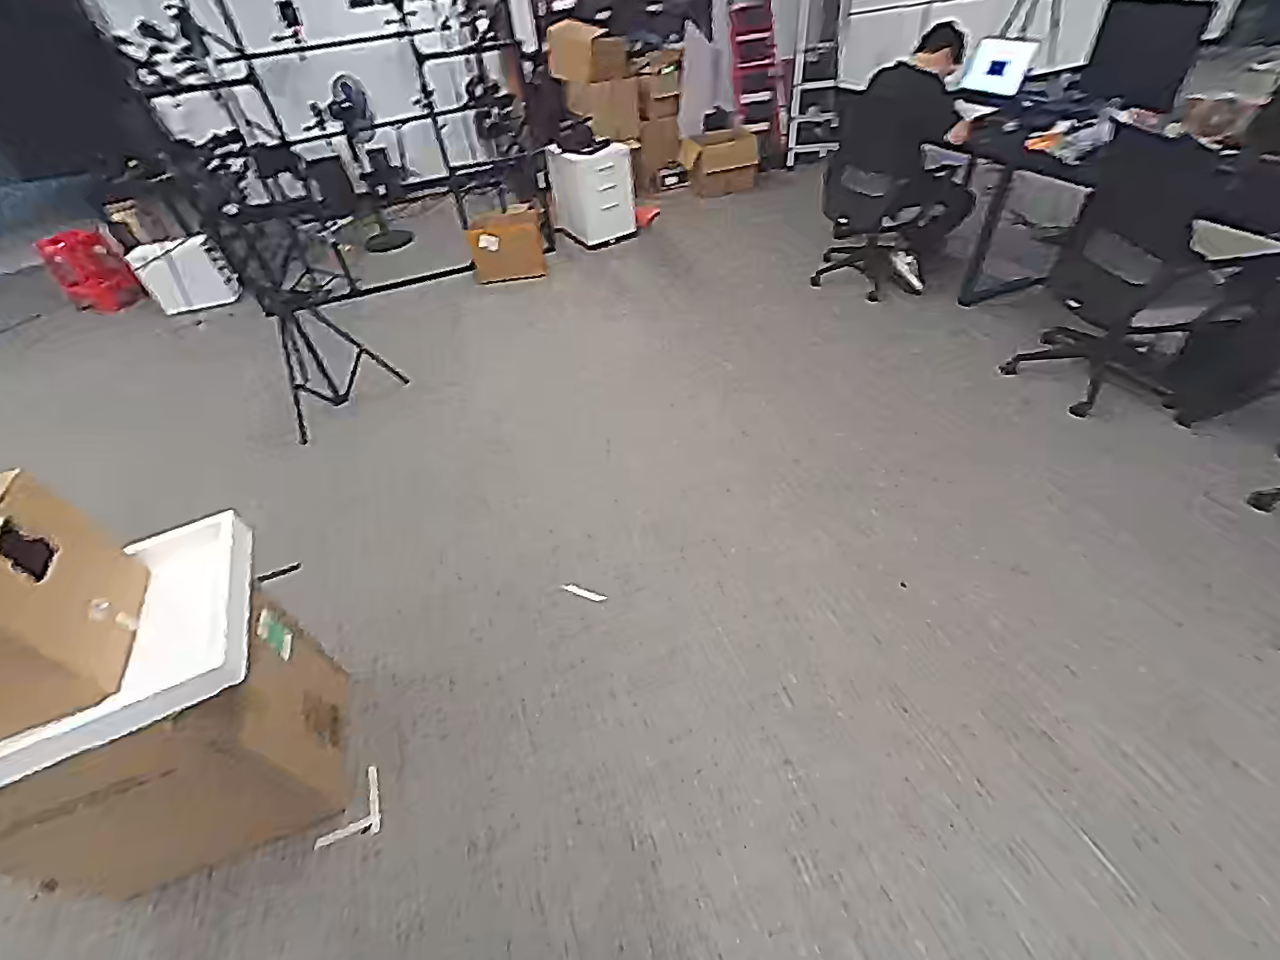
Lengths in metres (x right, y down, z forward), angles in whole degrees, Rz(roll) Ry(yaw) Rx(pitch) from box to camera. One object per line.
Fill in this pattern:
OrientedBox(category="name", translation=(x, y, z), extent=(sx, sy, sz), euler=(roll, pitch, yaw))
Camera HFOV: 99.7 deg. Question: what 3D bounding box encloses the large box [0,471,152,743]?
OrientedBox(category="large box", translation=(-1.167, 0.253, 0.907), extent=(0.408, 0.320, 0.320), euler=(-22, 45, -13))
